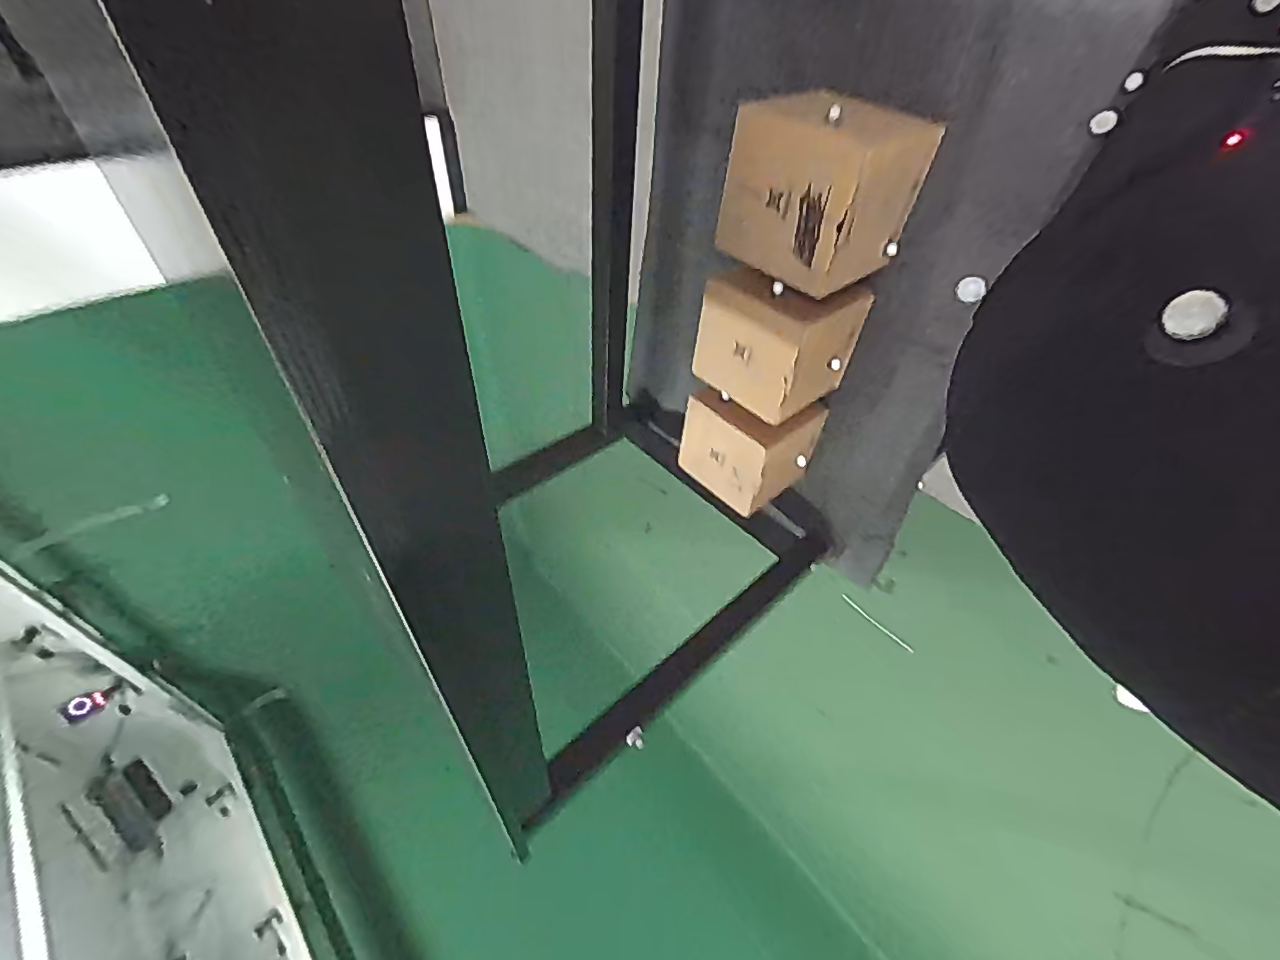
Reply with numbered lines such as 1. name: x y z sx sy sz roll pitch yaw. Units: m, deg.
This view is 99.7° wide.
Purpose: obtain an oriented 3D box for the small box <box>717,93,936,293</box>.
1. small box: 0.227 -0.365 0.677 0.179 0.176 0.168 41 146 29
